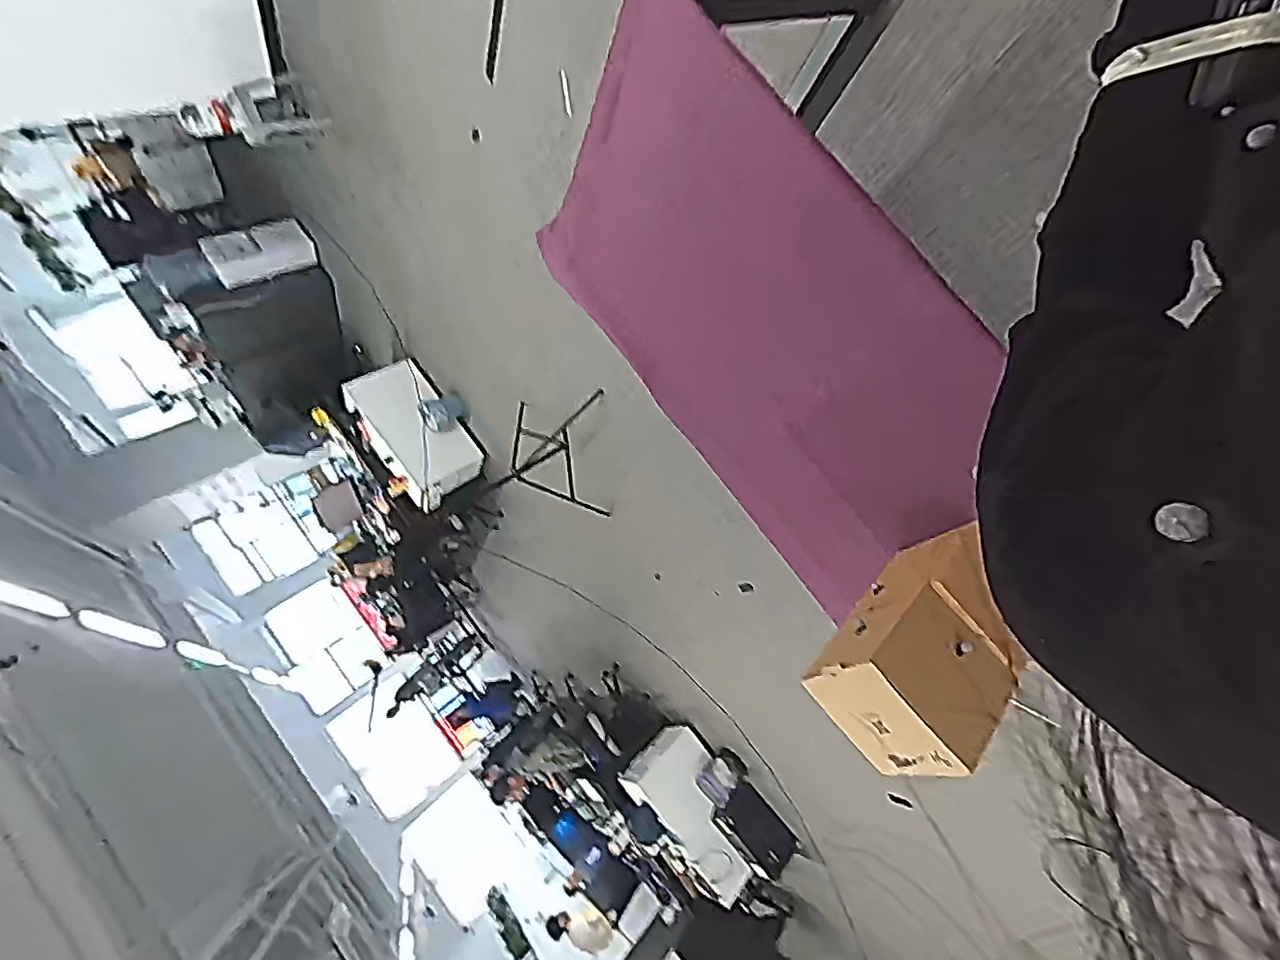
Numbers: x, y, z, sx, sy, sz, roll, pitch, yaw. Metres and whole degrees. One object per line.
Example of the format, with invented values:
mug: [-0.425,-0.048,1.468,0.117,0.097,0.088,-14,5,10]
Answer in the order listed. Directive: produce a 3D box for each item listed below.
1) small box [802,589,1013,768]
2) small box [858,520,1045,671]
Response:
small box: [0.378,0.278,0.774,0.179,0.176,0.168,50,150,10]
small box: [0.492,0.189,0.852,0.168,0.176,0.179,50,149,8]
